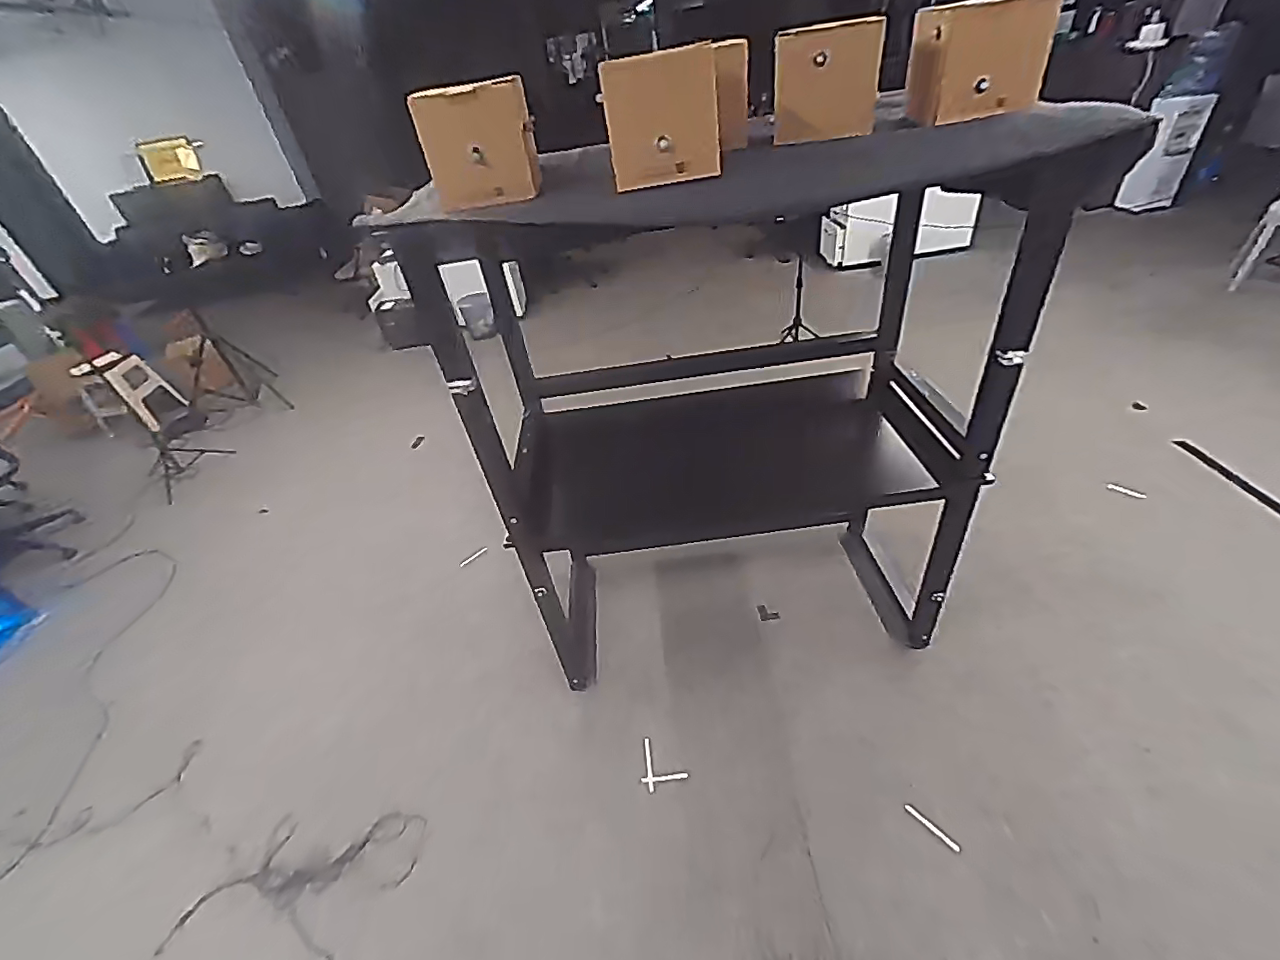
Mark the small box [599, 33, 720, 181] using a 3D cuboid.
[{"bbox_3d":[0.035,-0.592,0.868,0.168,0.176,0.179,-7,37,6],"label":"small box"}]

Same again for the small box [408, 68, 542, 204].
[{"bbox_3d":[-0.271,-0.591,0.936,0.168,0.176,0.179,-9,40,0],"label":"small box"}]

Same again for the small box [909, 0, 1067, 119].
[{"bbox_3d":[0.594,-0.749,0.949,0.168,0.176,0.179,-5,39,7],"label":"small box"}]
